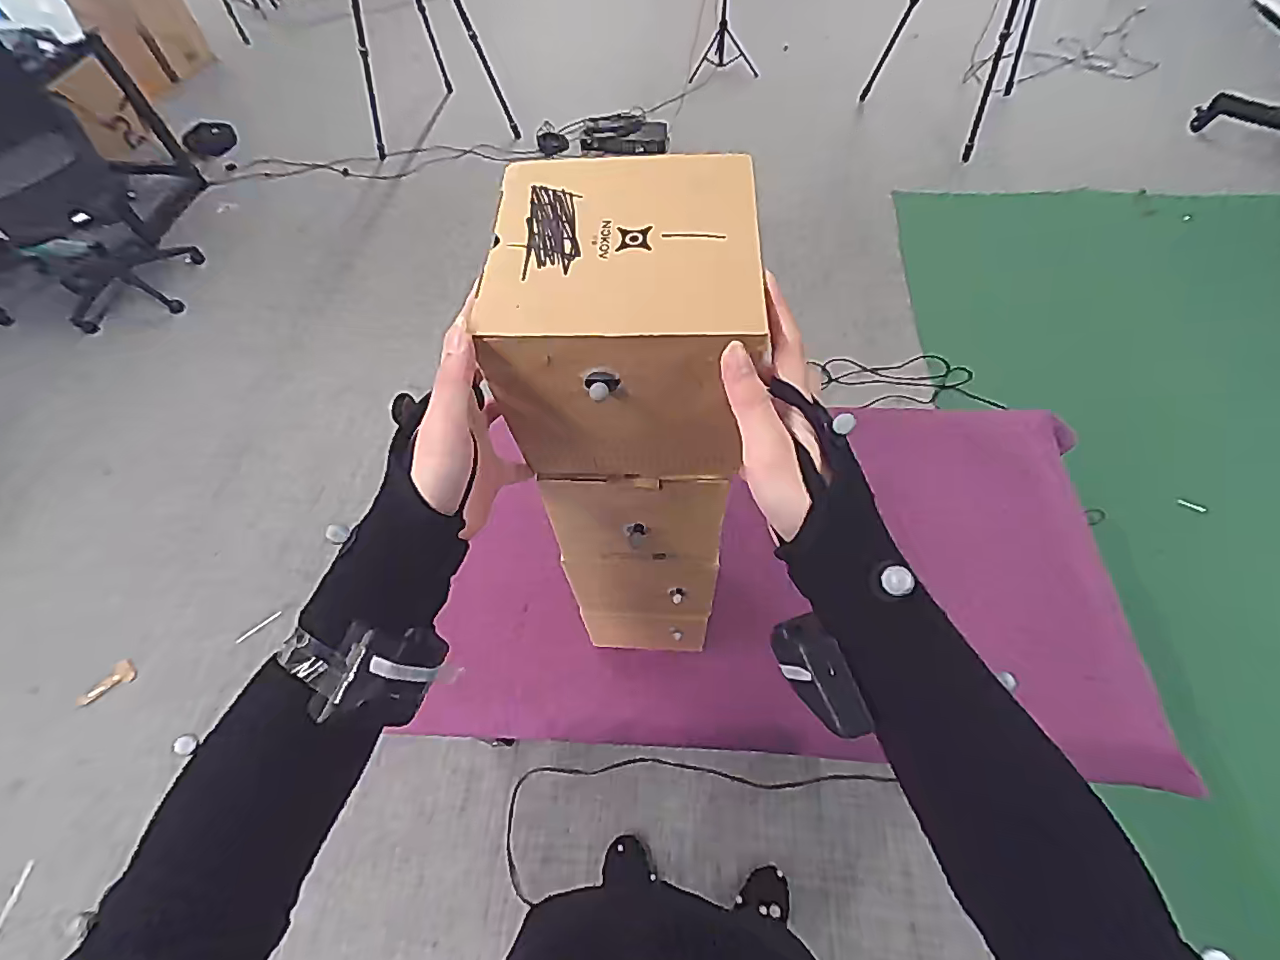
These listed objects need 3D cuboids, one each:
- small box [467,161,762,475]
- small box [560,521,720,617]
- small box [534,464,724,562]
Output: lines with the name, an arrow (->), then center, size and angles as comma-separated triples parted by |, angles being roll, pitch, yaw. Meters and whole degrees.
small box -> -0.008, -0.113, 0.418 | 0.179, 0.176, 0.168 | 1, 62, 4
small box -> 0.008, 0.070, 0.696 | 0.179, 0.176, 0.168 | 1, 57, 5
small box -> -0.001, -0.024, 0.563 | 0.168, 0.176, 0.179 | 1, 57, 4
